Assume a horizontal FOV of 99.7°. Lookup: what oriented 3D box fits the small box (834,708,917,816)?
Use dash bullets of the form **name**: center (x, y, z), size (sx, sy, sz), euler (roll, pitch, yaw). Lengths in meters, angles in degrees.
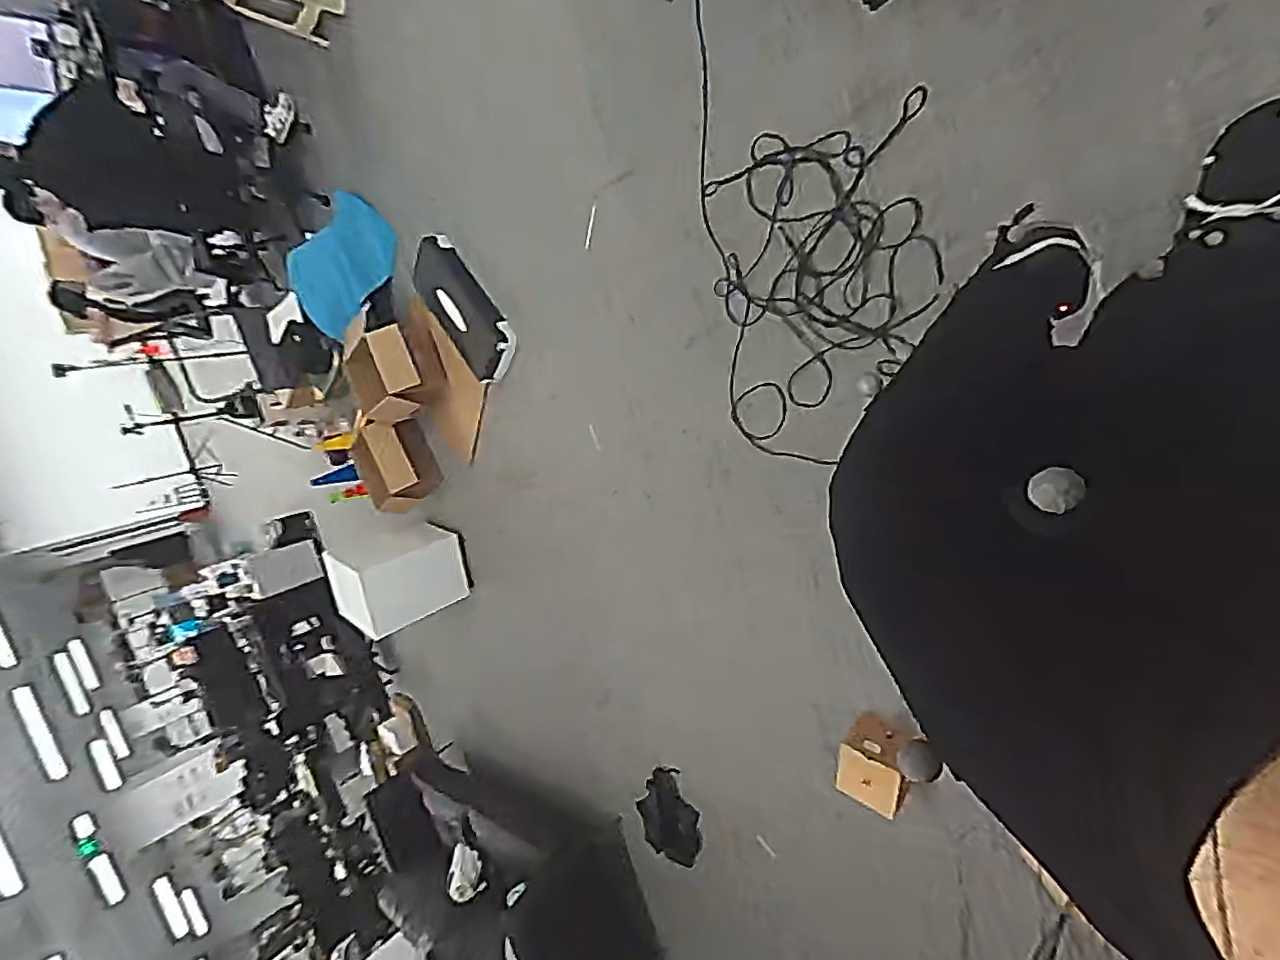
- **small box**: center (0.680, 0.804, 1.559), size (0.168, 0.176, 0.179), euler (15, 117, 40)
